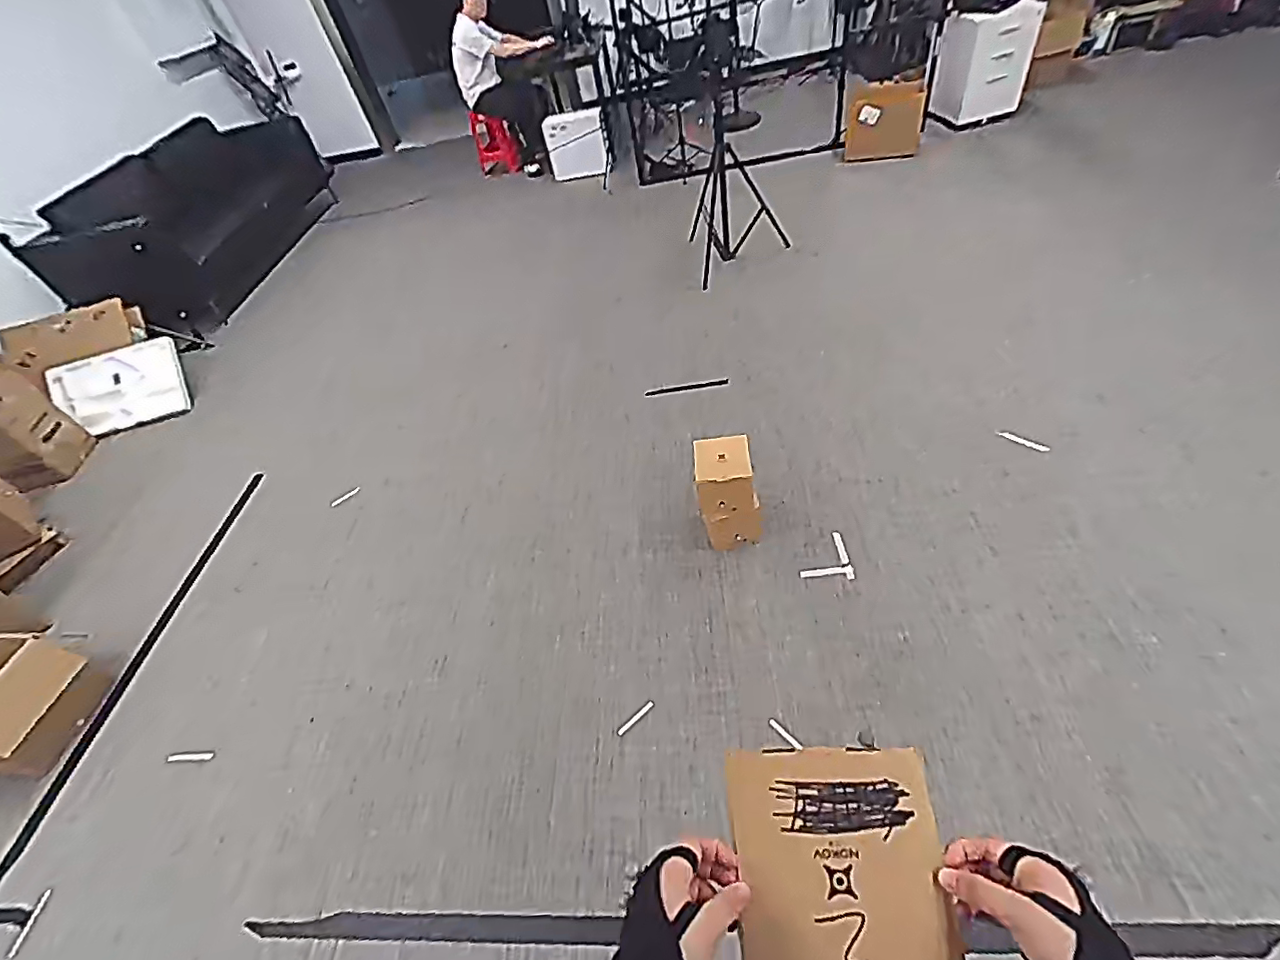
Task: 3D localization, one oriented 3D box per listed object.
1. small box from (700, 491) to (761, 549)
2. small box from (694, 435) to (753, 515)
[{"bbox_3d":[0.292,0.097,1.778,0.168,0.176,0.179,-16,47,0],"label":"small box"},{"bbox_3d":[0.257,-0.015,1.665,0.168,0.176,0.179,-6,48,8],"label":"small box"}]
